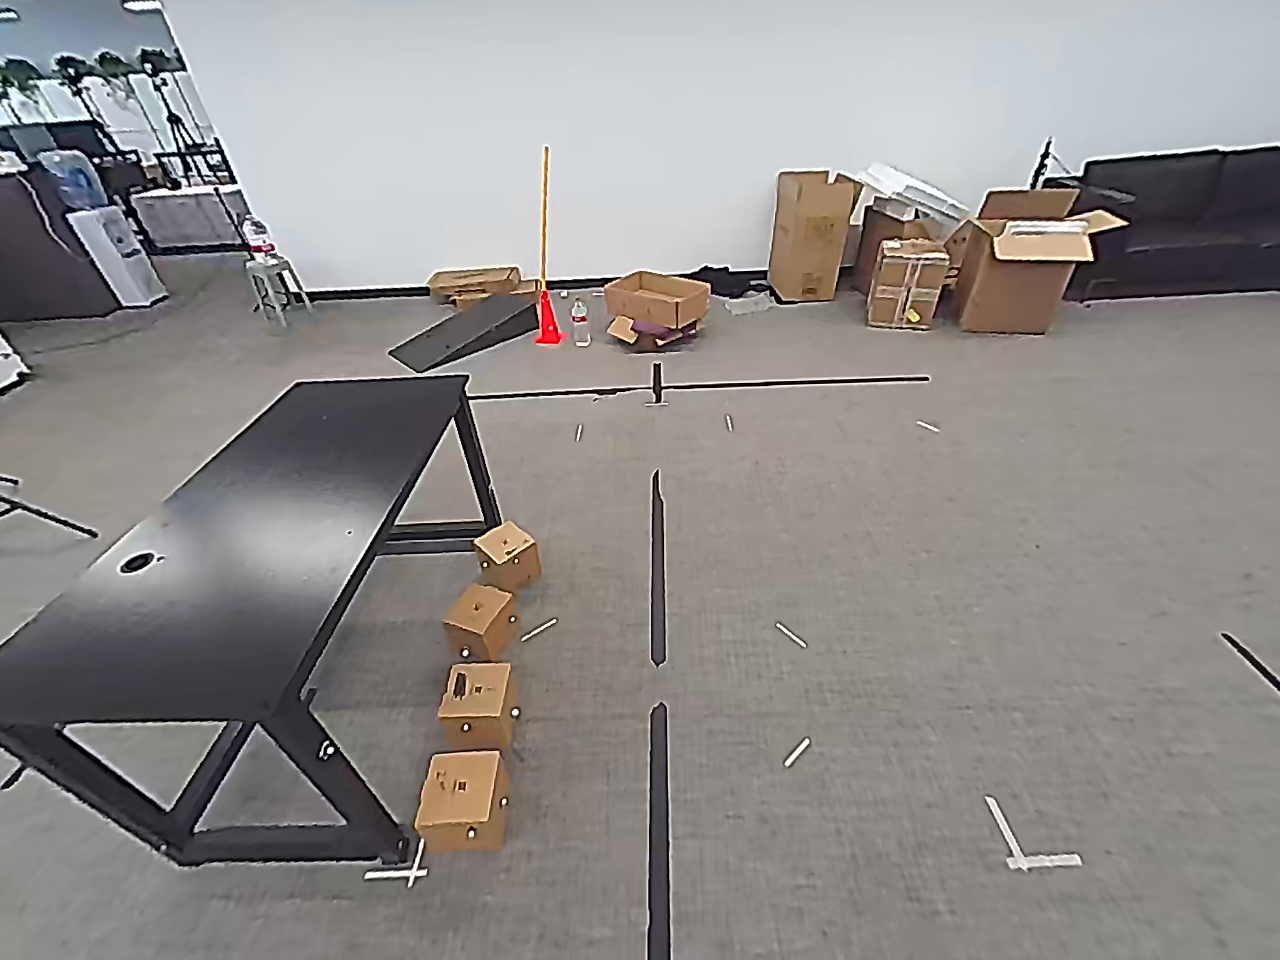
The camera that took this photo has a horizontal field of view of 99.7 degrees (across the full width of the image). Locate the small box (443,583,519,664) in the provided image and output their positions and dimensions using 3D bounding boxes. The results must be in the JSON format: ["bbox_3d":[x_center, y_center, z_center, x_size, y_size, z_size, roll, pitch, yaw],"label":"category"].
[{"bbox_3d":[-0.524,0.481,1.815,0.168,0.176,0.179,11,41,19],"label":"small box"}]

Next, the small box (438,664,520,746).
[{"bbox_3d":[-0.461,0.657,1.579,0.179,0.176,0.168,-1,38,1],"label":"small box"}]

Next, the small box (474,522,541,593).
[{"bbox_3d":[-0.498,0.294,2.052,0.179,0.176,0.168,29,48,35],"label":"small box"}]
